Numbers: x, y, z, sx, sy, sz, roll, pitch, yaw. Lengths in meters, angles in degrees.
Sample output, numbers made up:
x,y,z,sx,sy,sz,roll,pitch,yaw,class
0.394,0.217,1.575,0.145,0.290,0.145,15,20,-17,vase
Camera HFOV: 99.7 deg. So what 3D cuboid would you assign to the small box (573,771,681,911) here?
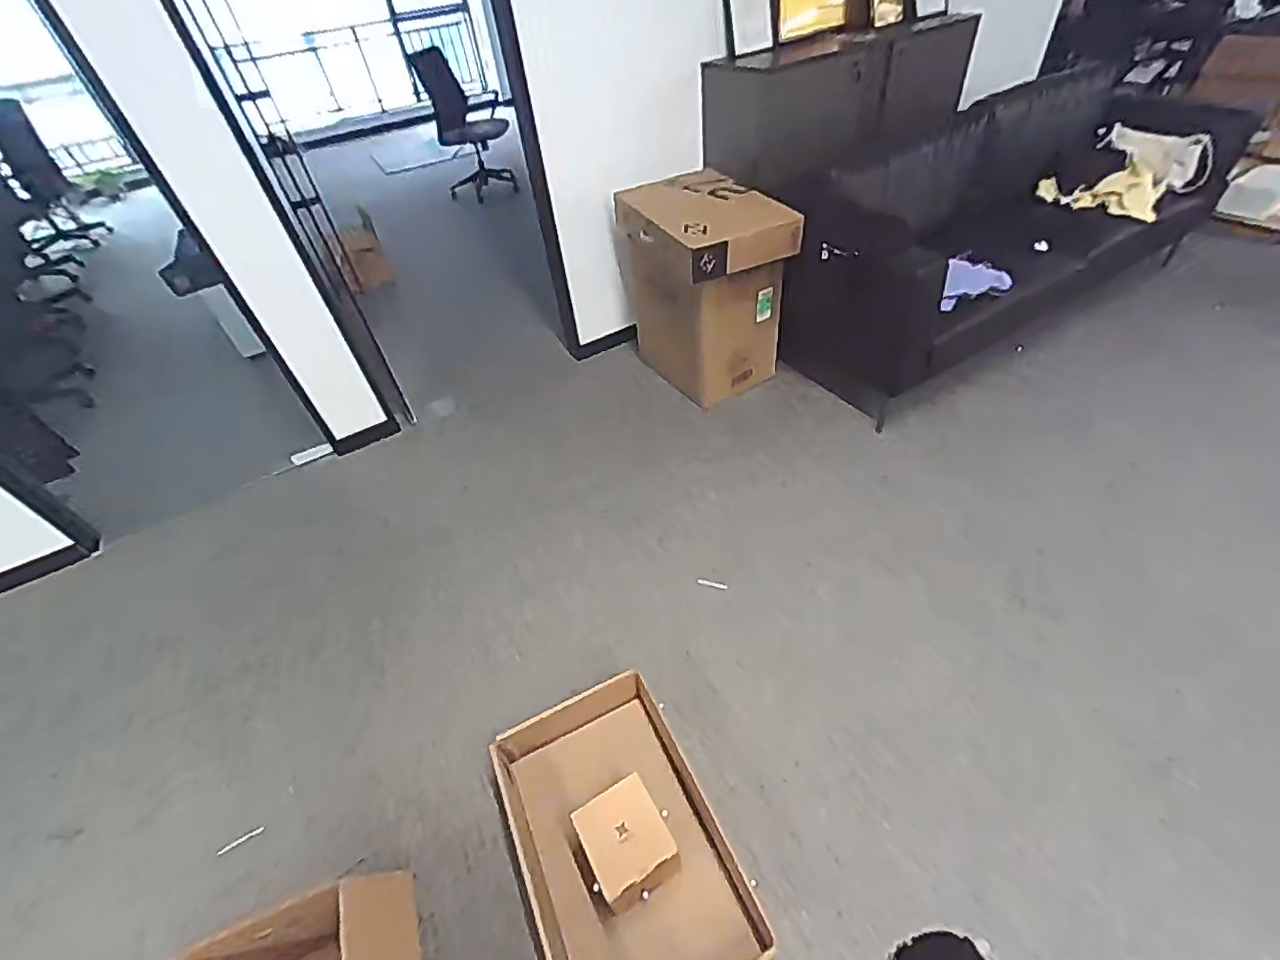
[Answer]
x,y,z,sx,sy,sz,roll,pitch,yaw,class
-0.026,0.775,1.160,0.168,0.176,0.179,-26,47,-18,small box
